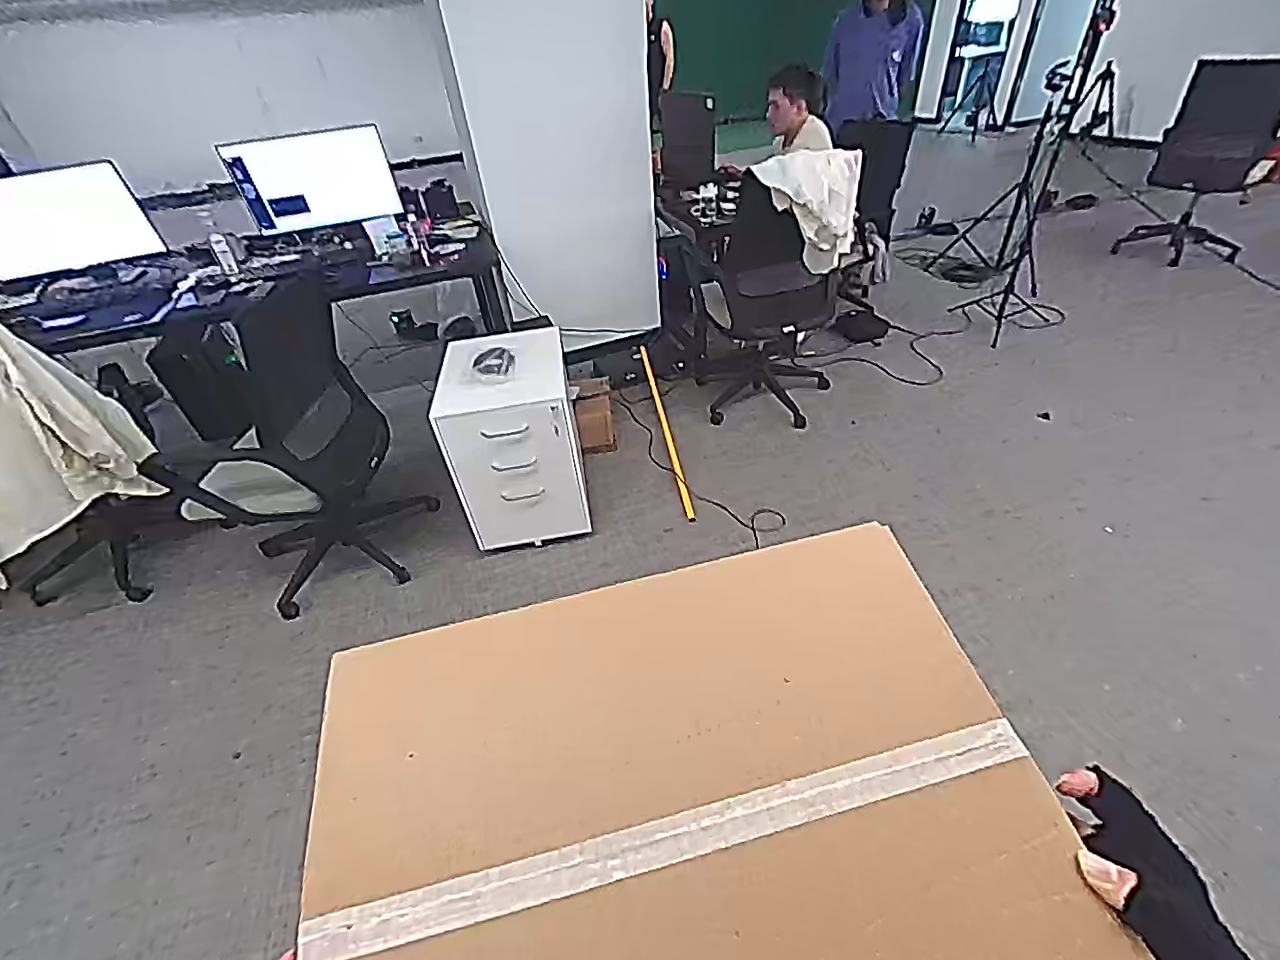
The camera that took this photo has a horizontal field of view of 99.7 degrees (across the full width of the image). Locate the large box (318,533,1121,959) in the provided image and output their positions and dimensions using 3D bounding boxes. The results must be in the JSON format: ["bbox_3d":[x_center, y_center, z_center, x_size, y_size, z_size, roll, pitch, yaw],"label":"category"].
[{"bbox_3d":[0.032,0.290,0.427,0.408,0.320,0.320,-13,52,-5],"label":"large box"}]
